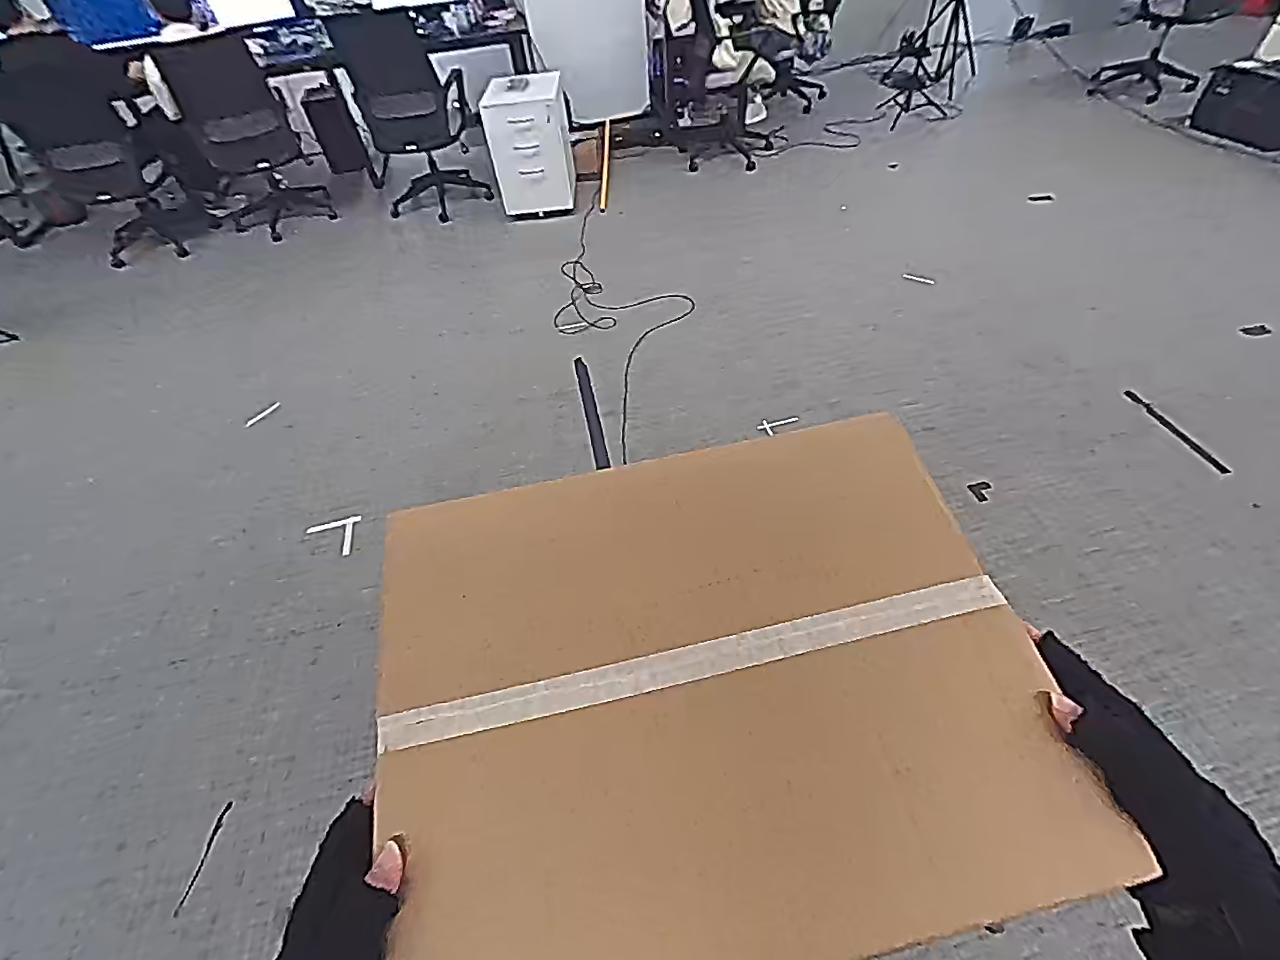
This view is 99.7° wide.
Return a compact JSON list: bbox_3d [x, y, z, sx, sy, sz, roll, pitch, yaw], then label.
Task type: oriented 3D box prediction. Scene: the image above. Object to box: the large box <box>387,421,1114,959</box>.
[{"bbox_3d":[0.045,0.196,0.482,0.408,0.320,0.320,-12,59,-4],"label":"large box"}]
